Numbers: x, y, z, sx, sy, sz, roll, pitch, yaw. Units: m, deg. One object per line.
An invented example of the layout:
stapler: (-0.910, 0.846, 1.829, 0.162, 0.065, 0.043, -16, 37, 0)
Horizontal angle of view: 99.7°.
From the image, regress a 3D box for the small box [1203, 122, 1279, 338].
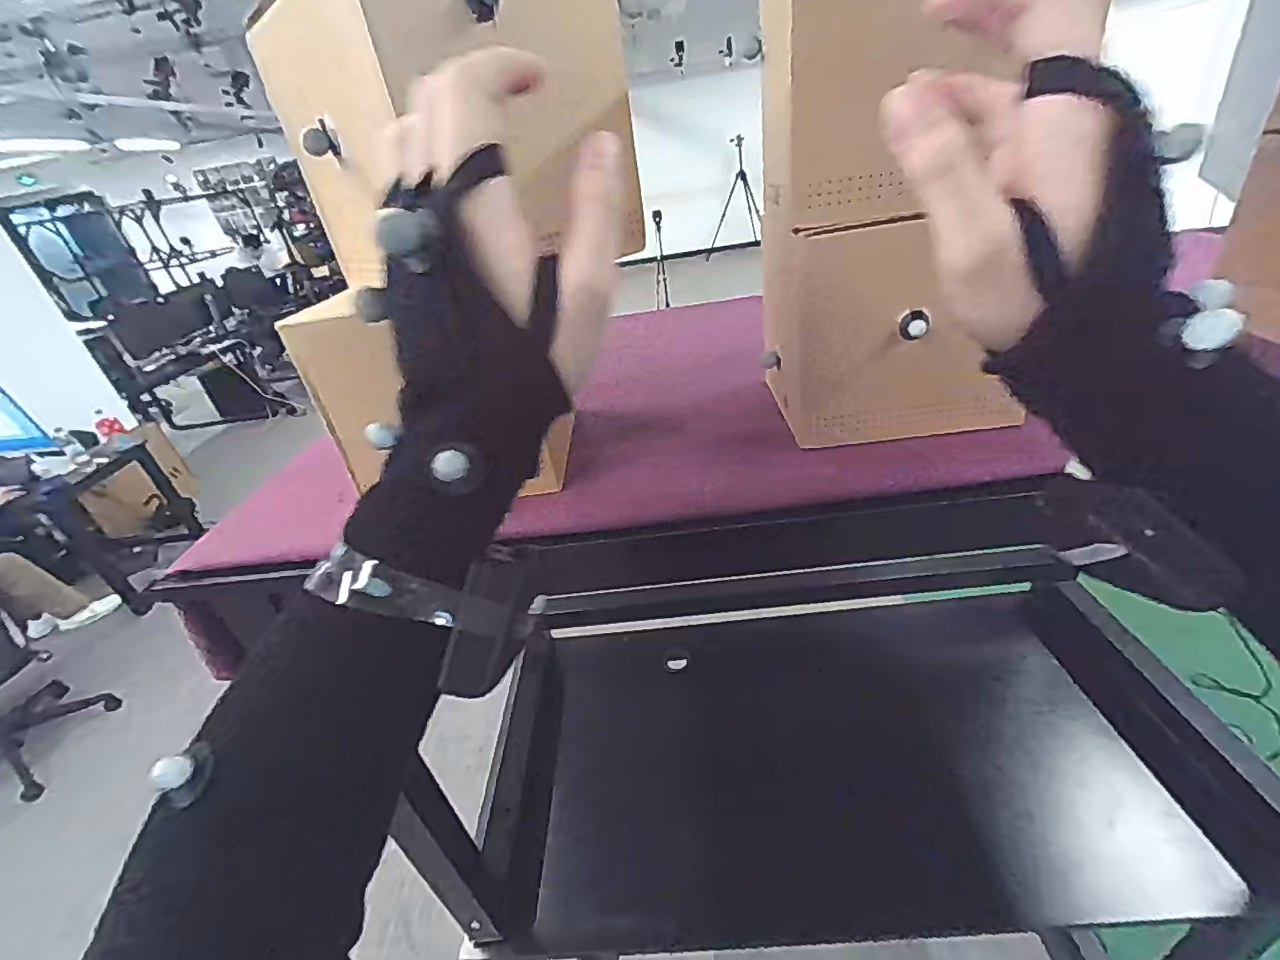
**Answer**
small box: (0.632, -0.202, 0.434, 0.168, 0.176, 0.179, -7, 32, 6)

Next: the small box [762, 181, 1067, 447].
small box: (0.206, -0.144, 0.463, 0.179, 0.176, 0.168, -7, 30, 6)

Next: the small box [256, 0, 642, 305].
small box: (-0.122, -0.228, 0.378, 0.179, 0.176, 0.168, 20, 43, 42)

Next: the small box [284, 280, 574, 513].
small box: (-0.159, -0.091, 0.482, 0.168, 0.176, 0.179, -8, 31, 4)
